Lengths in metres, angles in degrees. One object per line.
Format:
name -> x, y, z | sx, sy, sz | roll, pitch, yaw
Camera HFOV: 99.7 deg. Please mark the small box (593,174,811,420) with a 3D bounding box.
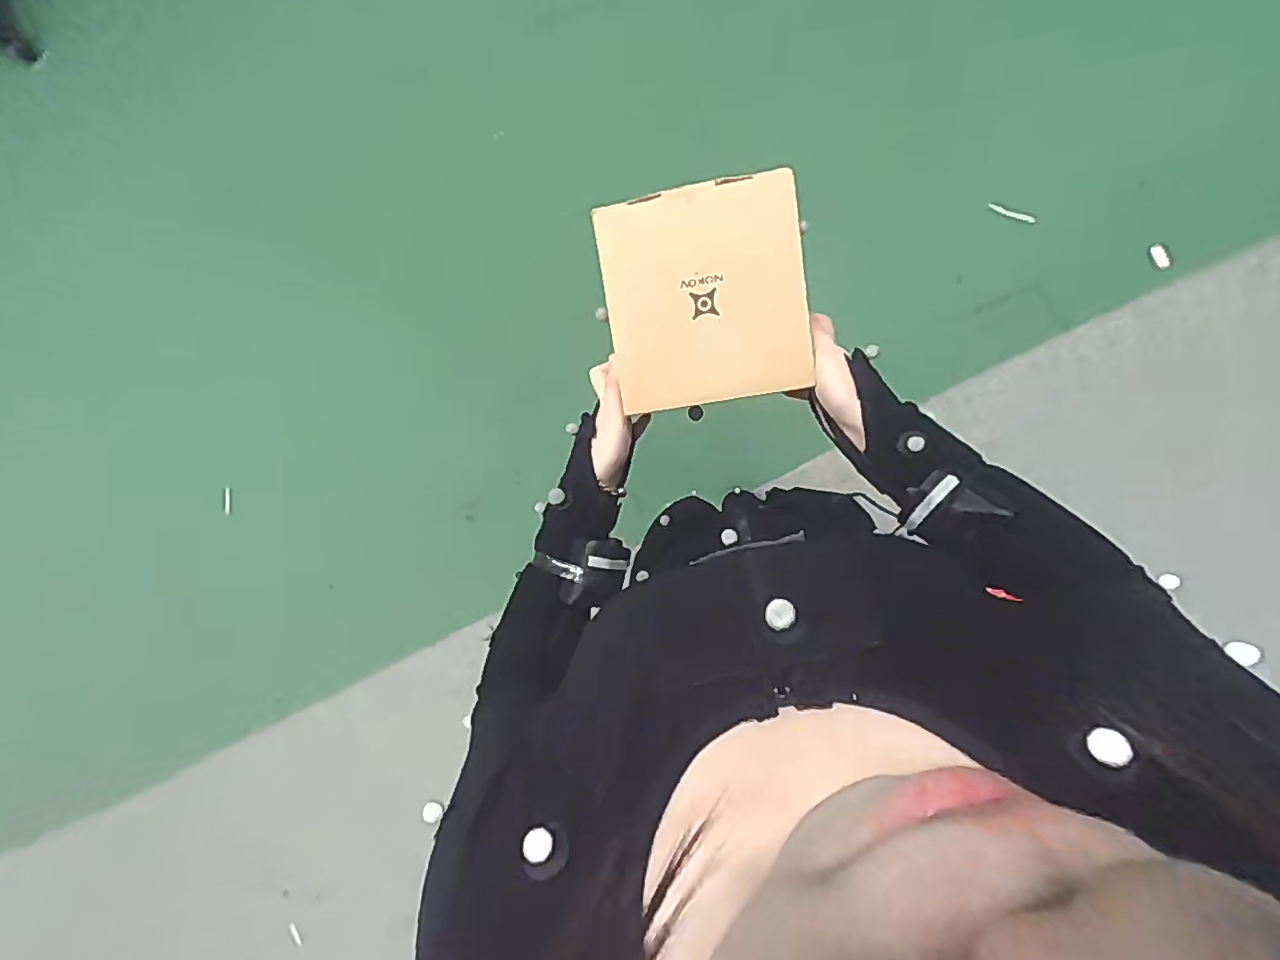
small box -> 0.063, -0.160, 0.525 | 0.168, 0.176, 0.179 | -7, 98, 8
